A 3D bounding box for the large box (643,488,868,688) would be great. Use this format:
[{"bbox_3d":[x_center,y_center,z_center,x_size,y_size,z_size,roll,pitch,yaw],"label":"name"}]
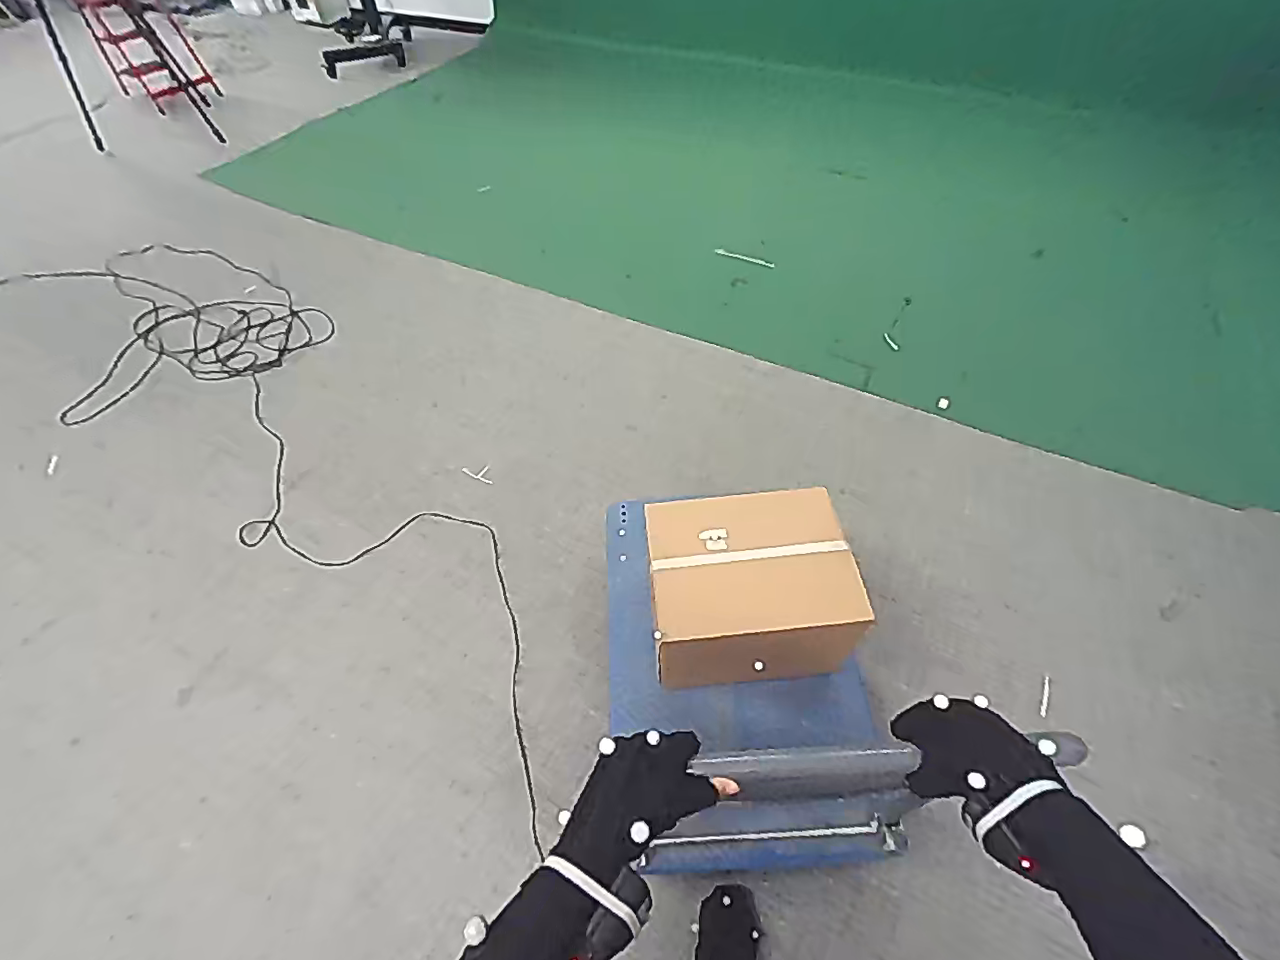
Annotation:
[{"bbox_3d":[0.227,0.250,1.219,0.408,0.320,0.320,-6,53,-2],"label":"large box"}]
